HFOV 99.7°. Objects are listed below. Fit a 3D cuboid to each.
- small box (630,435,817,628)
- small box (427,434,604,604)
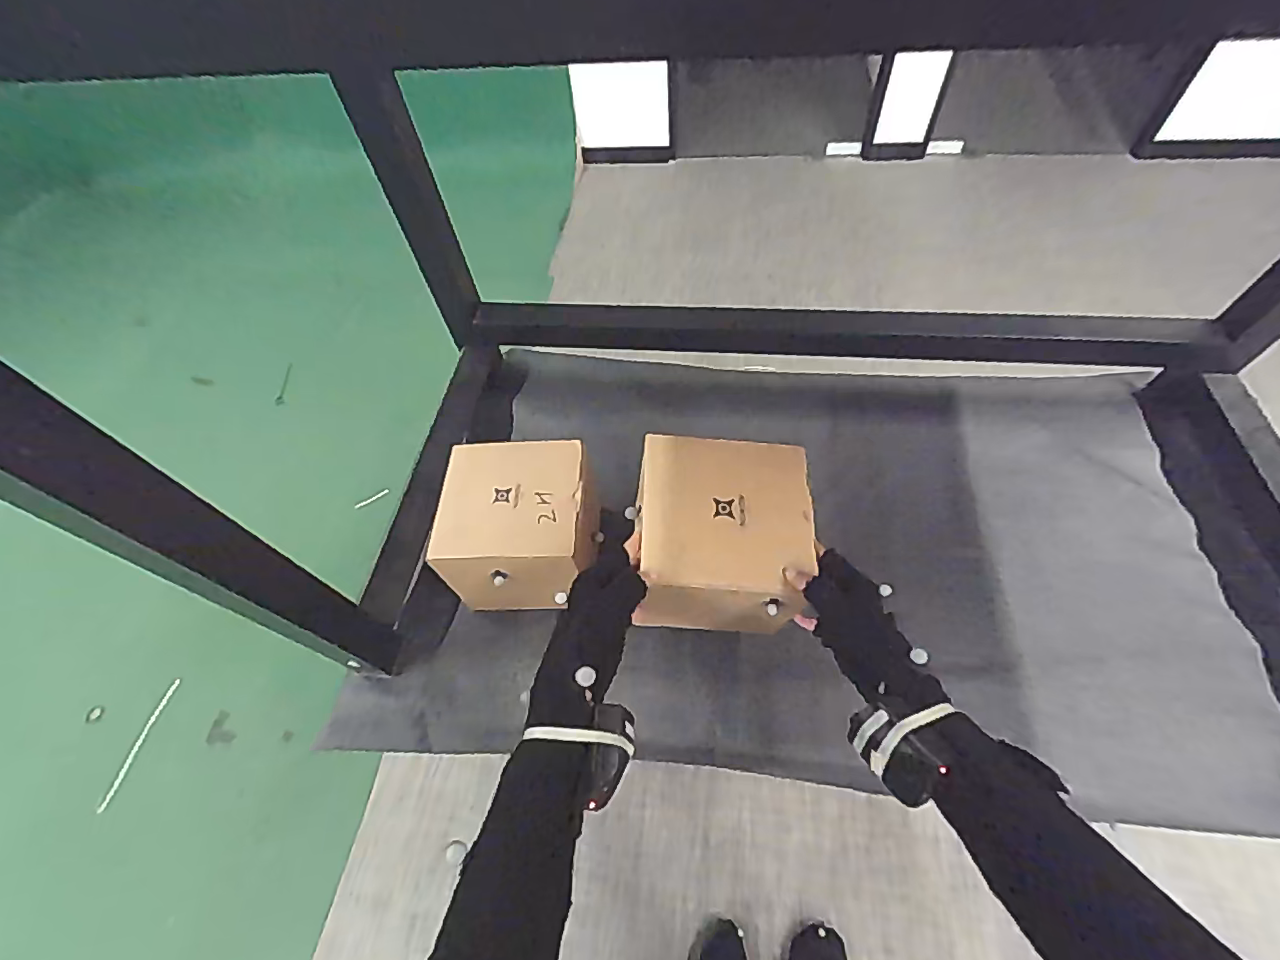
[{"bbox_3d":[0.081,0.066,0.612,0.179,0.176,0.168,4,63,-2],"label":"small box"},{"bbox_3d":[-0.151,0.059,0.720,0.179,0.176,0.168,-4,57,5],"label":"small box"}]
